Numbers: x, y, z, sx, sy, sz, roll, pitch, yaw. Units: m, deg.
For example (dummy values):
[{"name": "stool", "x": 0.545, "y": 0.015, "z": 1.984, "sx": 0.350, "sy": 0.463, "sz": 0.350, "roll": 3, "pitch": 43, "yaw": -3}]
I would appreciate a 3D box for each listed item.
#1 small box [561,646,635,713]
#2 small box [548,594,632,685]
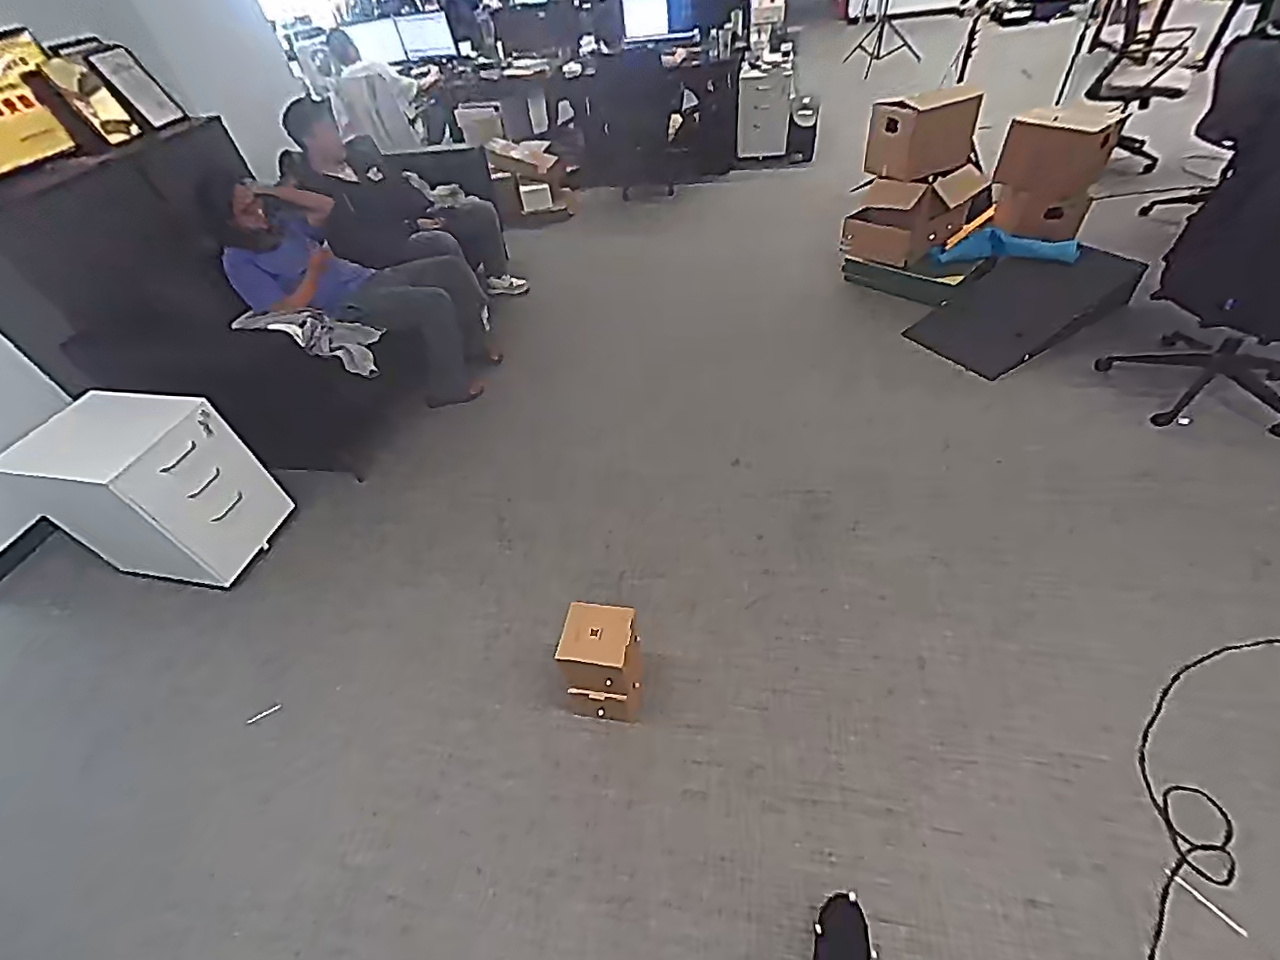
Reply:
[{"name": "small box", "x": -0.113, "y": 0.550, "z": 1.554, "sx": 0.168, "sy": 0.176, "sz": 0.179, "roll": 2, "pitch": 47, "yaw": 10}, {"name": "small box", "x": -0.122, "y": 0.422, "z": 1.425, "sx": 0.179, "sy": 0.176, "sz": 0.168, "roll": 3, "pitch": 46, "yaw": 11}]
